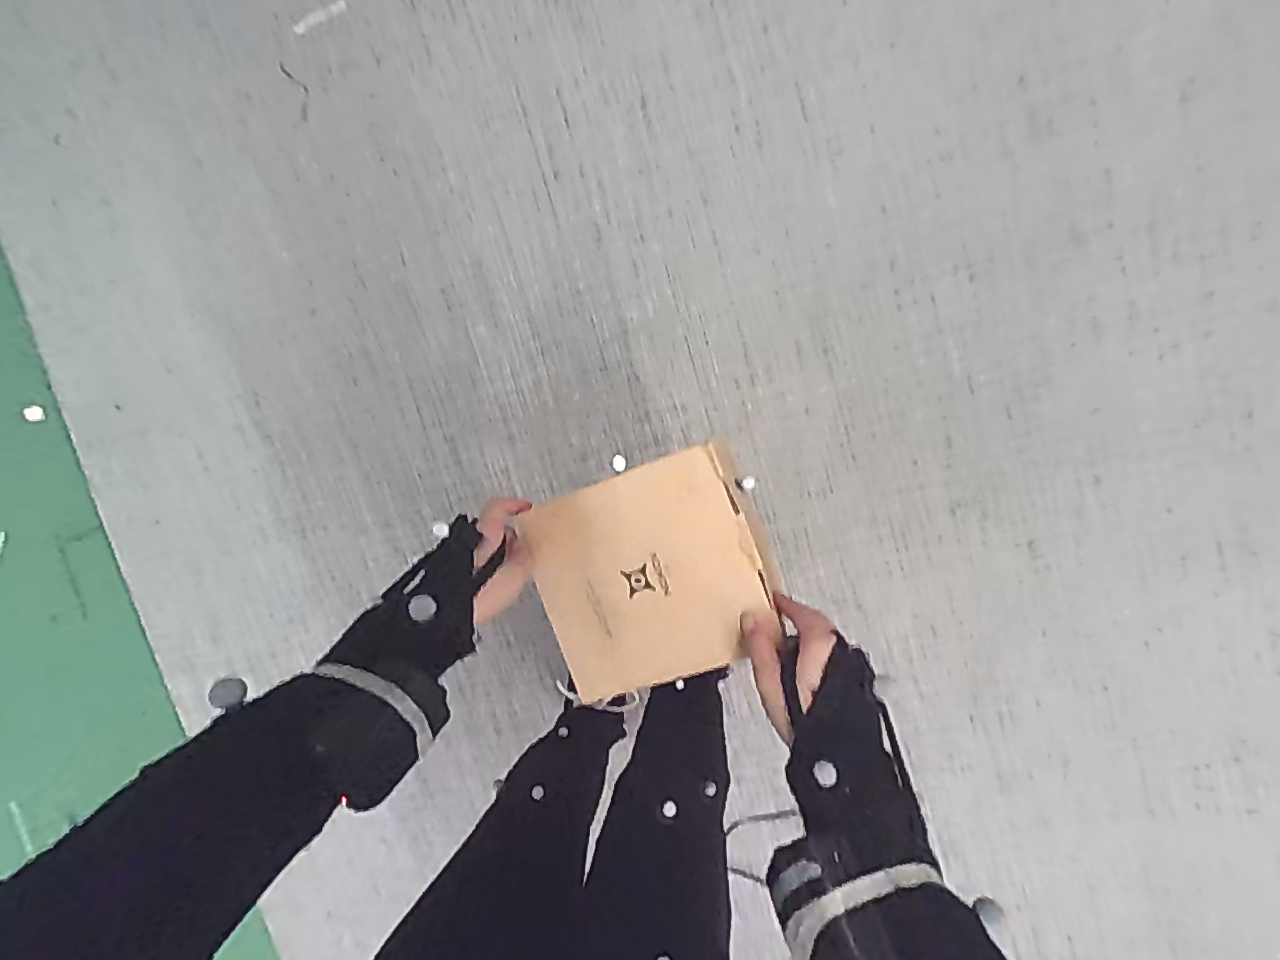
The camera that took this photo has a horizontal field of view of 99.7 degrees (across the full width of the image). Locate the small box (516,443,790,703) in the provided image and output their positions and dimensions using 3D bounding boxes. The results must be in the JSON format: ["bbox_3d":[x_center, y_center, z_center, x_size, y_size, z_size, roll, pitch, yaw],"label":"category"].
[{"bbox_3d":[0.022,0.069,0.496,0.179,0.176,0.168,-22,89,15],"label":"small box"}]
